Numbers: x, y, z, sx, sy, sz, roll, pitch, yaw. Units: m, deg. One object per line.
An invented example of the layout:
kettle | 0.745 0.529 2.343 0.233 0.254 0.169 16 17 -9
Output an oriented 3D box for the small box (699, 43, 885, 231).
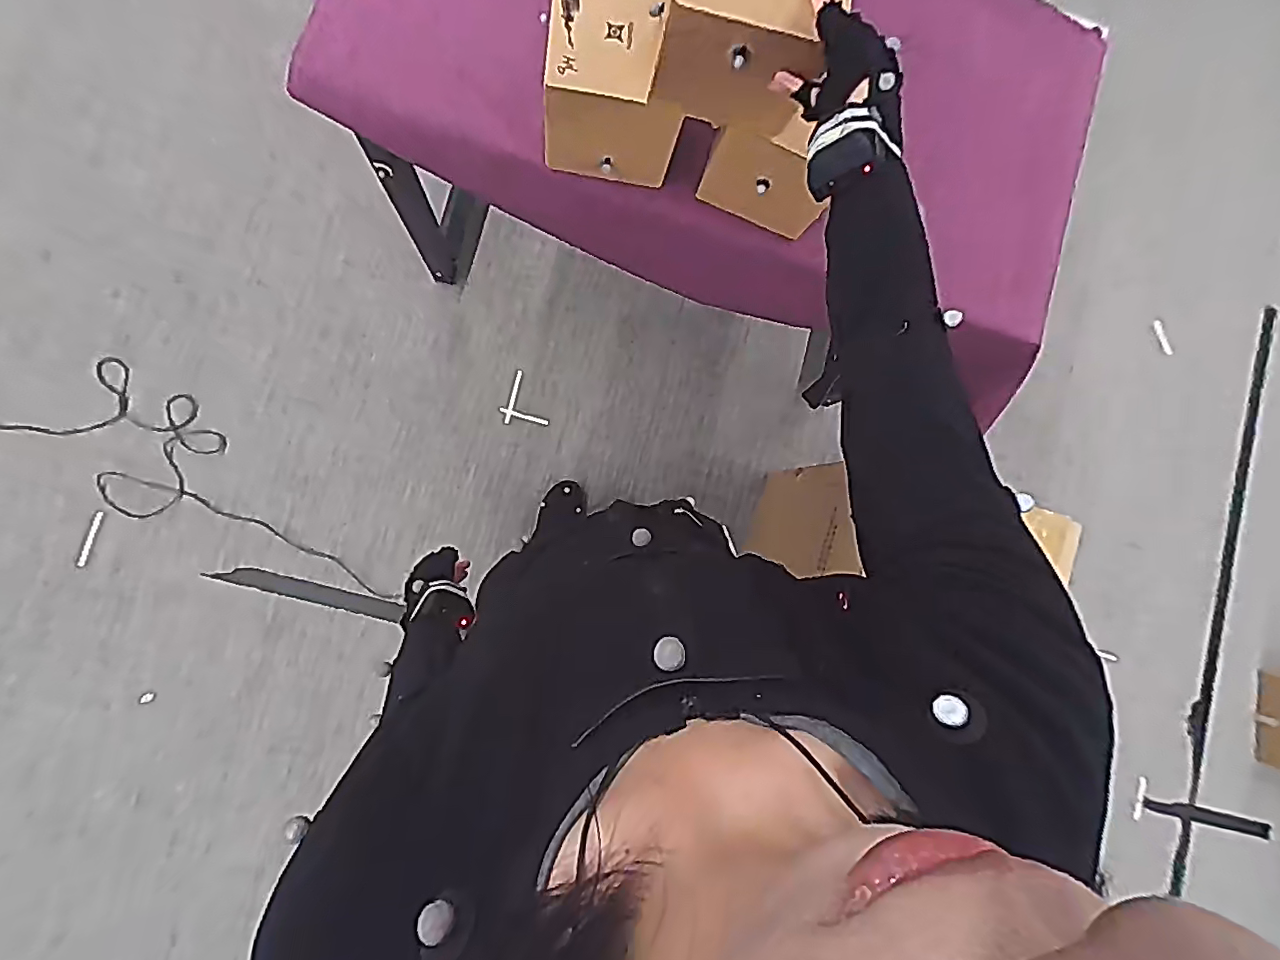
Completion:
small box | 0.205 -0.488 0.772 0.179 0.176 0.168 20 84 -6

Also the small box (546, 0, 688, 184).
small box | -0.033 -0.538 0.738 0.179 0.176 0.168 5 86 -9

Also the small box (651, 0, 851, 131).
small box | 0.115 -0.521 0.589 0.179 0.176 0.168 8 92 -9
